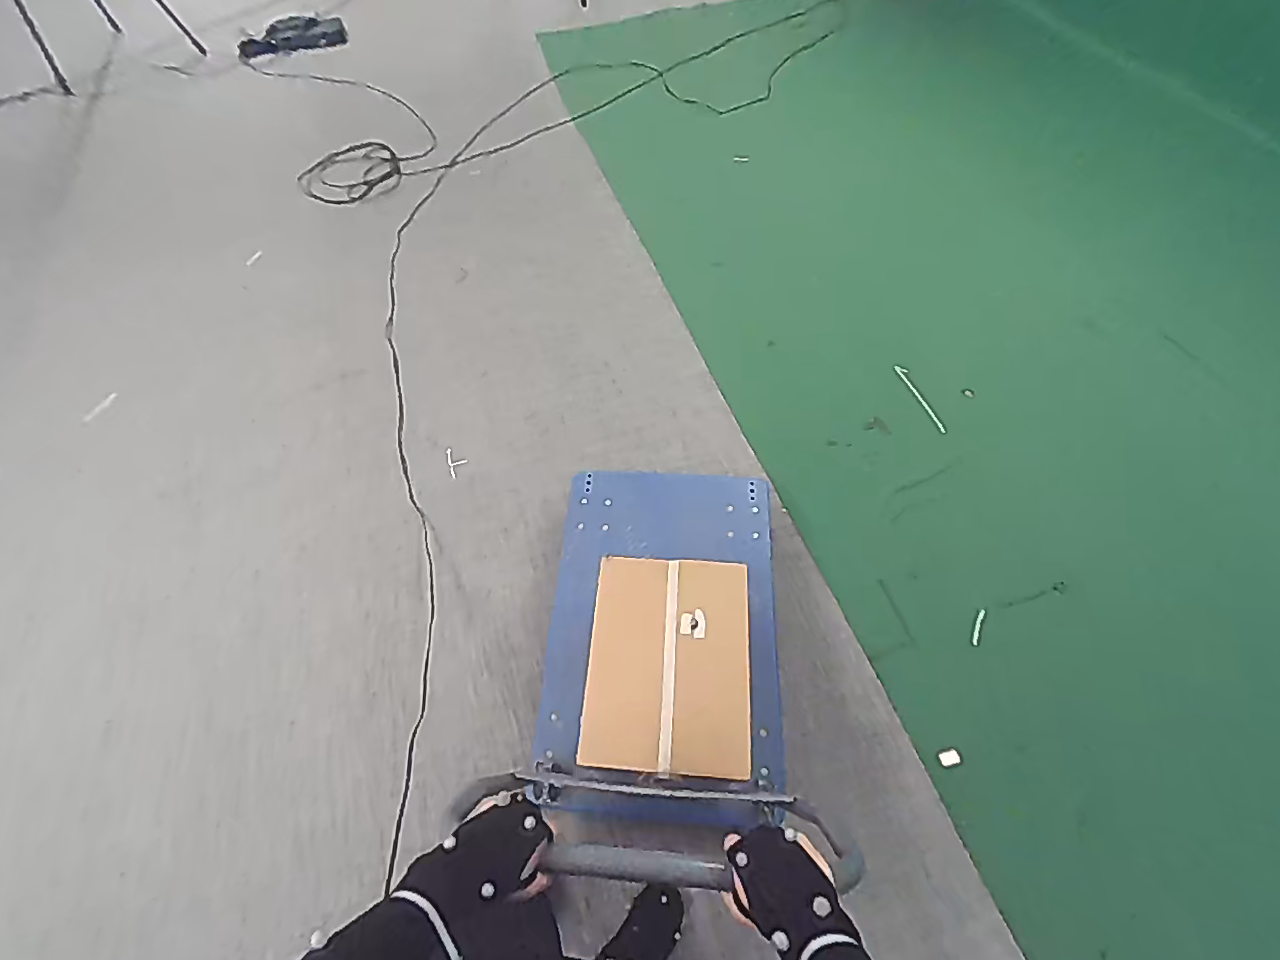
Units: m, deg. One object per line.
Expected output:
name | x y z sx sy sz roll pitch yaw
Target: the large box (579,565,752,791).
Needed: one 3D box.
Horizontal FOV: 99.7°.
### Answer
large box | 0.062 0.437 1.182 0.320 0.320 0.408 3 58 4
